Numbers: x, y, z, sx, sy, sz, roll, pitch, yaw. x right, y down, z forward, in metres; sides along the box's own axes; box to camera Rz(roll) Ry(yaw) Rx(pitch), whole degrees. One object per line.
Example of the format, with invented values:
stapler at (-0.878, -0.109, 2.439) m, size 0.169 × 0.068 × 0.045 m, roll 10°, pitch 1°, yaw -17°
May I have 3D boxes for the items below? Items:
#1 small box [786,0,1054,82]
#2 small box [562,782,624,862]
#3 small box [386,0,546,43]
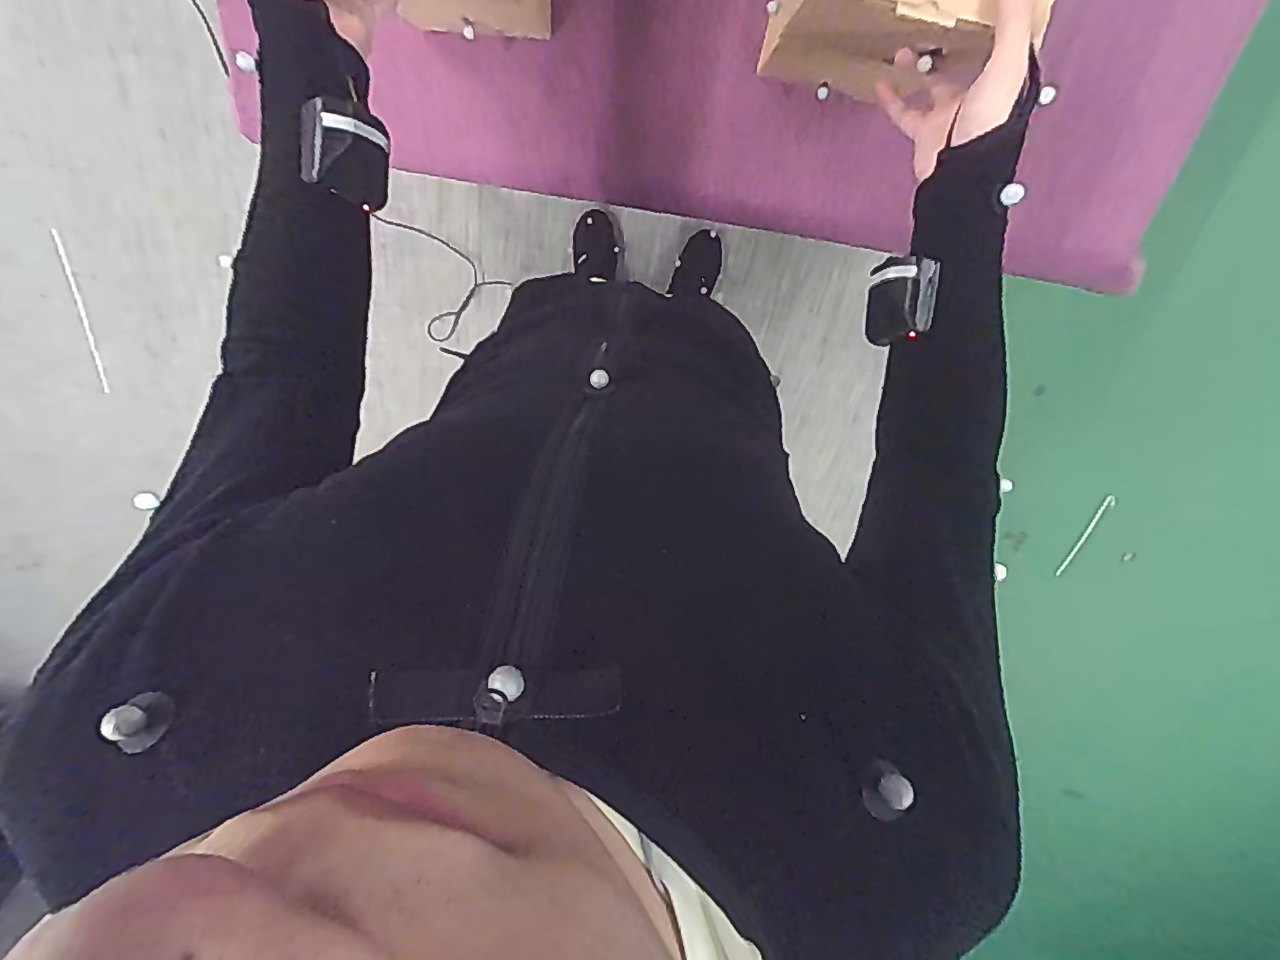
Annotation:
small box at (0.222, -0.432, 0.410) m, size 0.168 × 0.176 × 0.179 m, roll 13°, pitch 118°, yaw -4°
small box at (-0.158, 1.186, 1.880) m, size 0.179 × 0.176 × 0.168 m, roll 16°, pitch 117°, yaw -6°
small box at (-0.191, -0.578, 0.544) m, size 0.168 × 0.176 × 0.179 m, roll 6°, pitch 117°, yaw 1°
